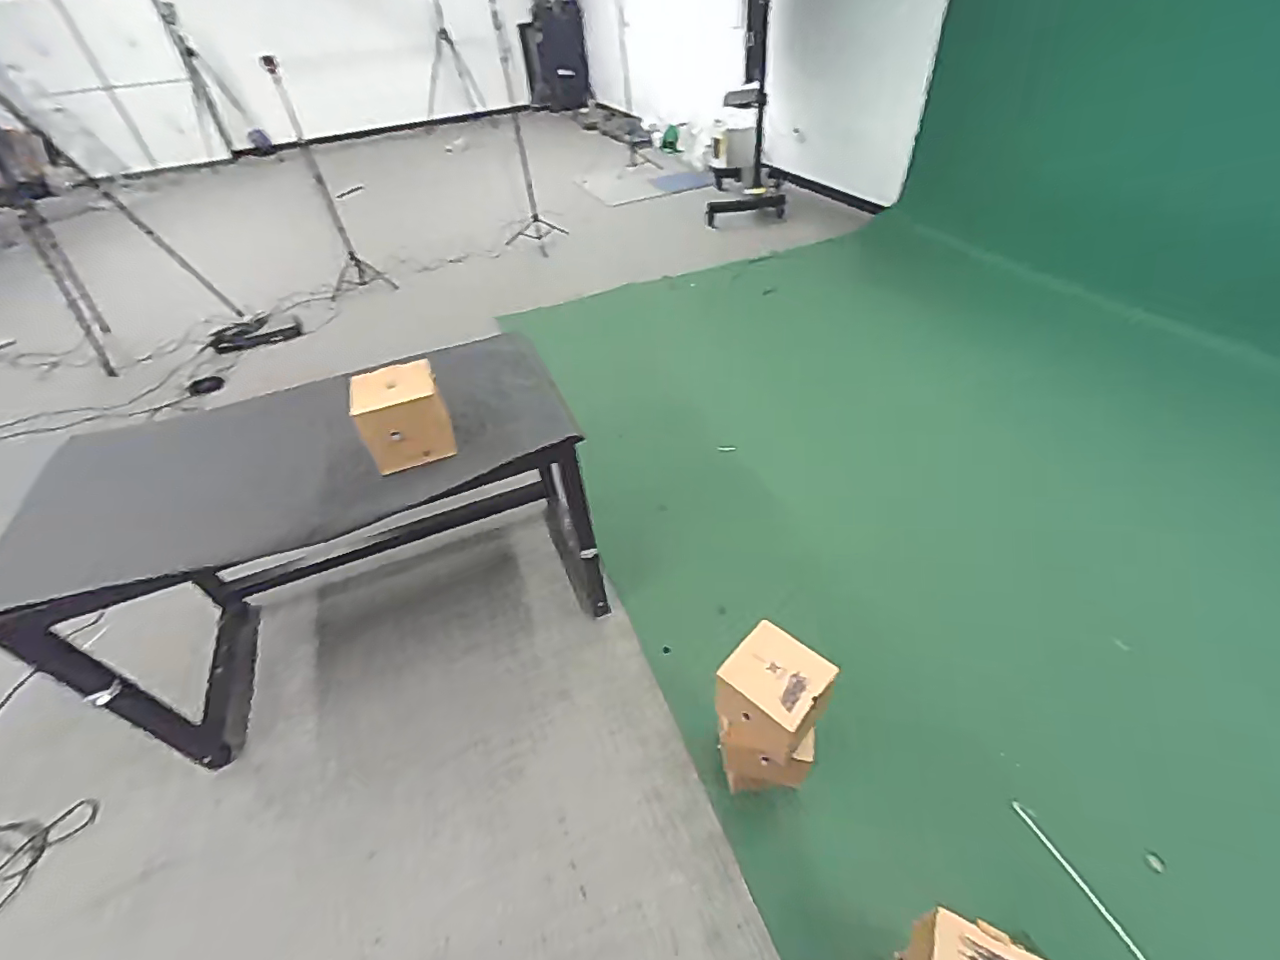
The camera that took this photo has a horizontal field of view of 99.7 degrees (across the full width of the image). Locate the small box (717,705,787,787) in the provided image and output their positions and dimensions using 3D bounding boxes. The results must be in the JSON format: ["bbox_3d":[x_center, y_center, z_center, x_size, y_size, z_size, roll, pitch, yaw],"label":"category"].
[{"bbox_3d":[0.291,0.642,1.343,0.179,0.176,0.168,-7,44,-1],"label":"small box"}]

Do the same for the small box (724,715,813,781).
[{"bbox_3d":[0.285,0.547,1.209,0.179,0.176,0.168,8,47,13],"label":"small box"}]

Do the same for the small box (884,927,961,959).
[{"bbox_3d":[0.517,0.965,0.980,0.179,0.176,0.168,-25,47,-20],"label":"small box"}]

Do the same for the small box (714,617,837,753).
[{"bbox_3d":[0.270,0.423,1.102,0.179,0.176,0.168,32,56,34],"label":"small box"}]

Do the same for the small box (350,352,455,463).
[{"bbox_3d":[-0.528,-0.156,1.211,0.168,0.176,0.179,-19,43,-13],"label":"small box"}]
